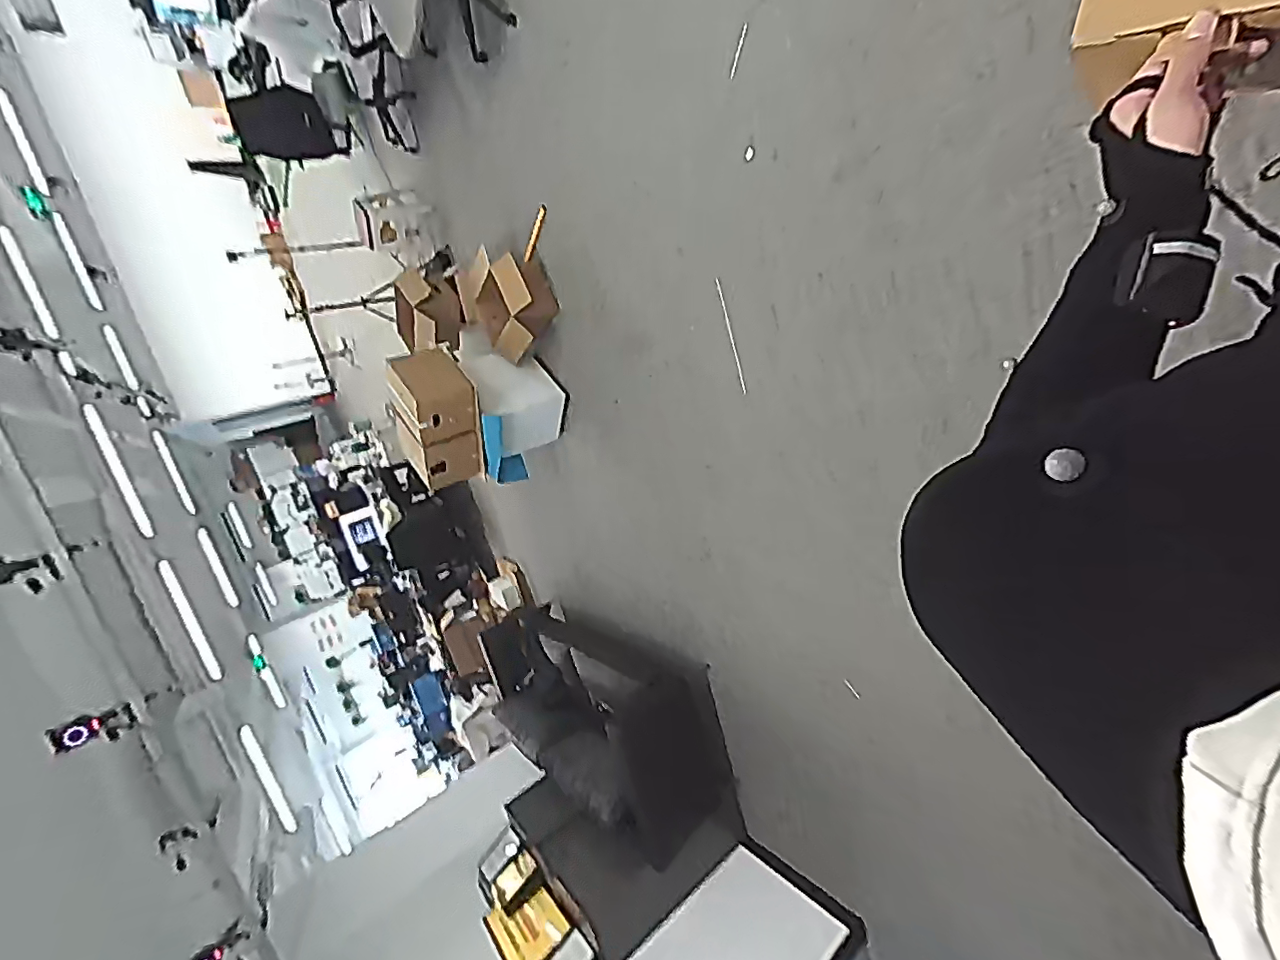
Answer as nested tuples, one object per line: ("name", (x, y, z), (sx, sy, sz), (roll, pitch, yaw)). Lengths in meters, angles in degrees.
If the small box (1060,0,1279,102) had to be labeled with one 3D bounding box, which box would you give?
("small box", (0.484, -0.442, 0.446), (0.168, 0.176, 0.179), (21, 111, 40))
